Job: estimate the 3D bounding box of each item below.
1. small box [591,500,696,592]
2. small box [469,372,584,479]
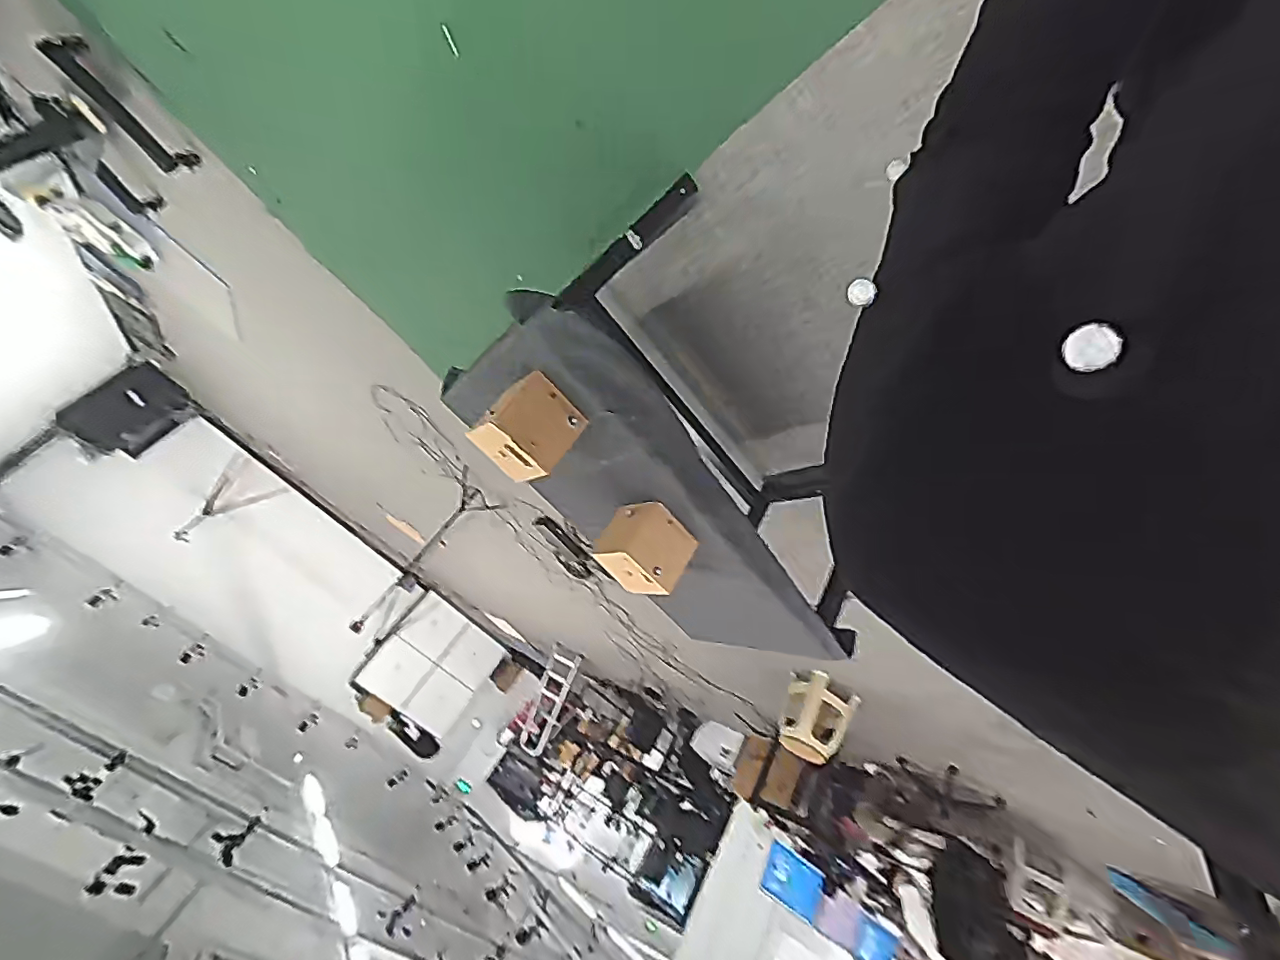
[{"bbox_3d":[0.012,0.169,1.406,0.168,0.176,0.179,47,151,-20],"label":"small box"},{"bbox_3d":[-0.254,-0.124,1.242,0.168,0.176,0.179,47,151,-22],"label":"small box"}]
